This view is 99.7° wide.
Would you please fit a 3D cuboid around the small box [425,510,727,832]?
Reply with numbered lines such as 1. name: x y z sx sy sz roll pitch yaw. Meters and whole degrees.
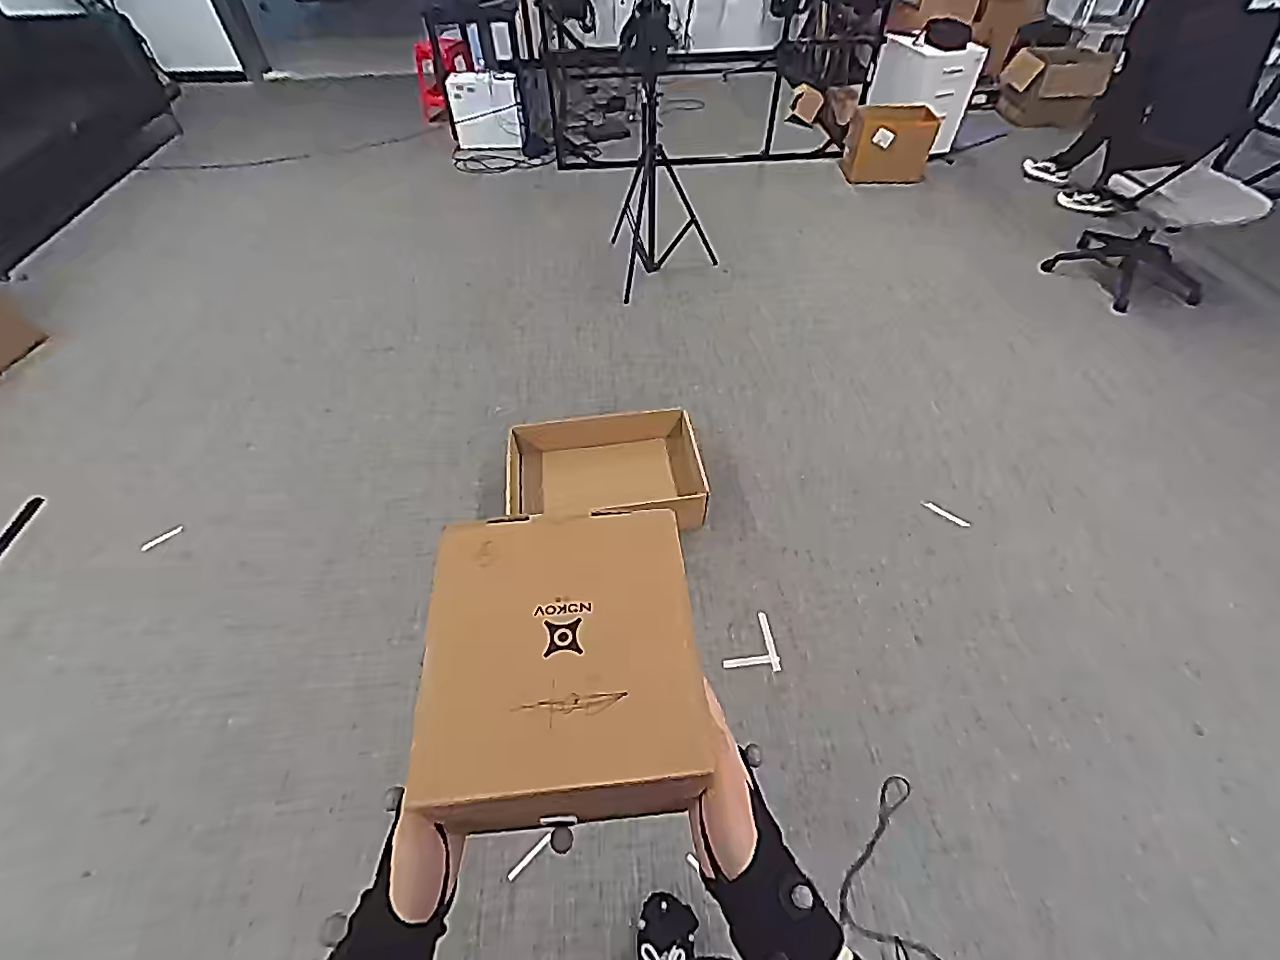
1. small box: -0.044 0.144 0.403 0.168 0.176 0.179 -4 54 -5
